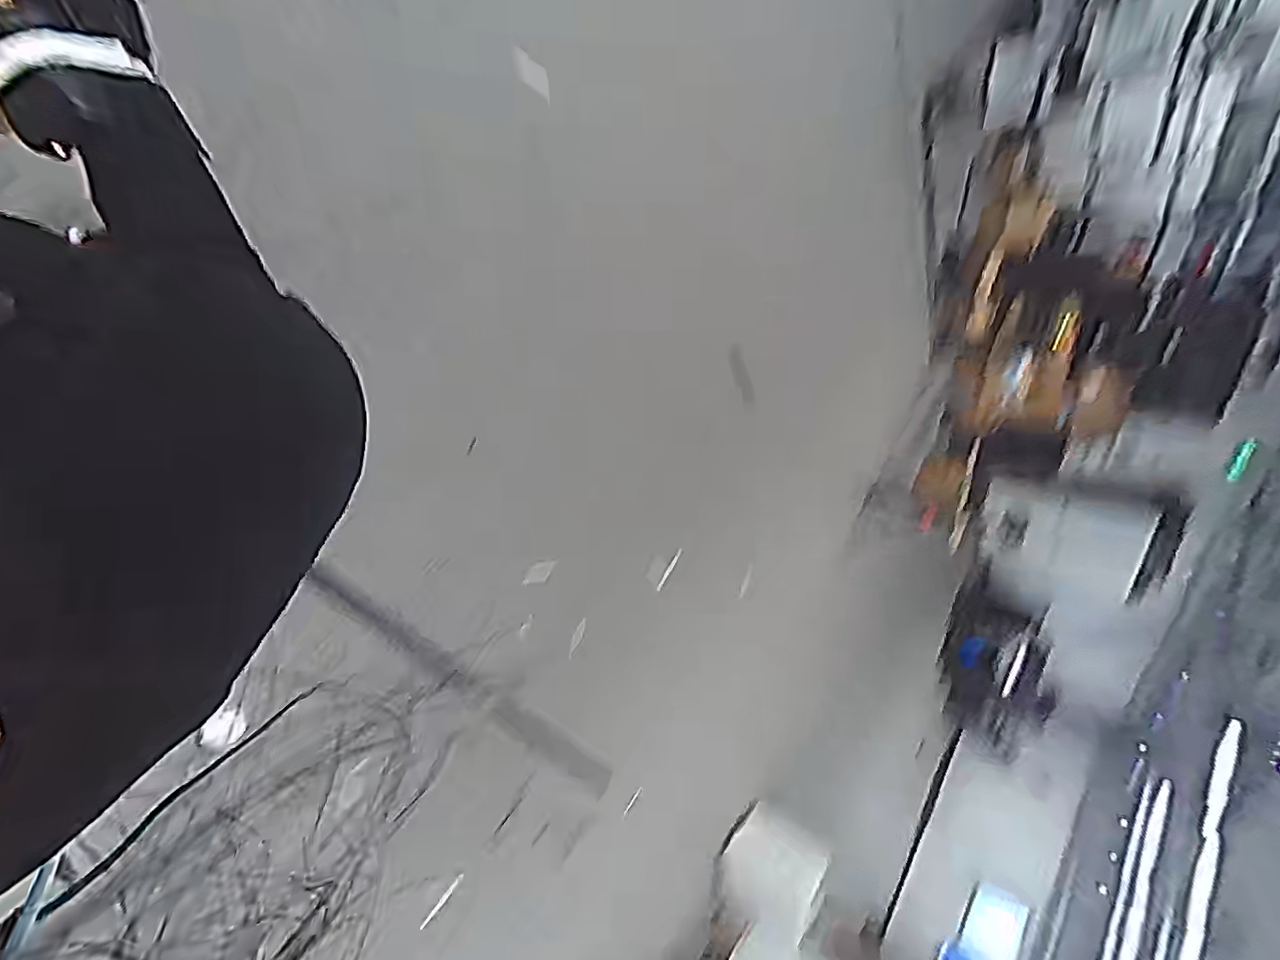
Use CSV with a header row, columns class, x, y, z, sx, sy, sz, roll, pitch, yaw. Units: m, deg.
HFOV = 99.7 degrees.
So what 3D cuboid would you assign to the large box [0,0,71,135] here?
class,x,y,z,sx,sy,sz,roll,pitch,yaw
large box,-0.665,-0.354,0.279,0.408,0.320,0.320,-36,134,-37
